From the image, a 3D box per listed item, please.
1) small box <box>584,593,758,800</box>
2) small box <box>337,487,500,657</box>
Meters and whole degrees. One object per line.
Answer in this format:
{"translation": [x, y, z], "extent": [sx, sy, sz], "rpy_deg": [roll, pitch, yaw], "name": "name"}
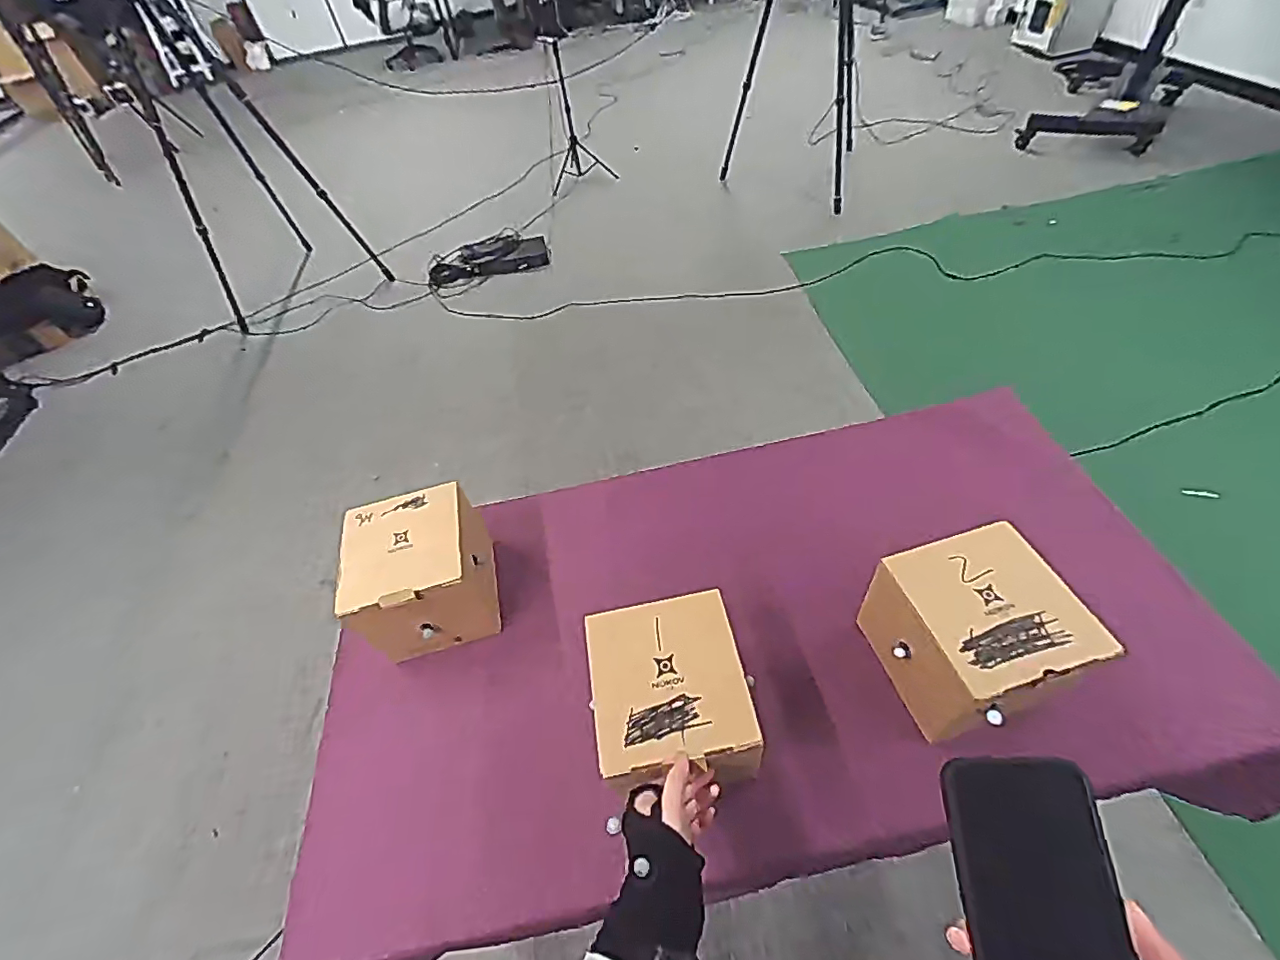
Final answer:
{"translation": [0.037, 0.264, 0.644], "extent": [0.168, 0.176, 0.179], "rpy_deg": [-12, 49, -1], "name": "small box"}
{"translation": [-0.316, 0.144, 0.801], "extent": [0.168, 0.176, 0.179], "rpy_deg": [-16, 51, -5], "name": "small box"}
